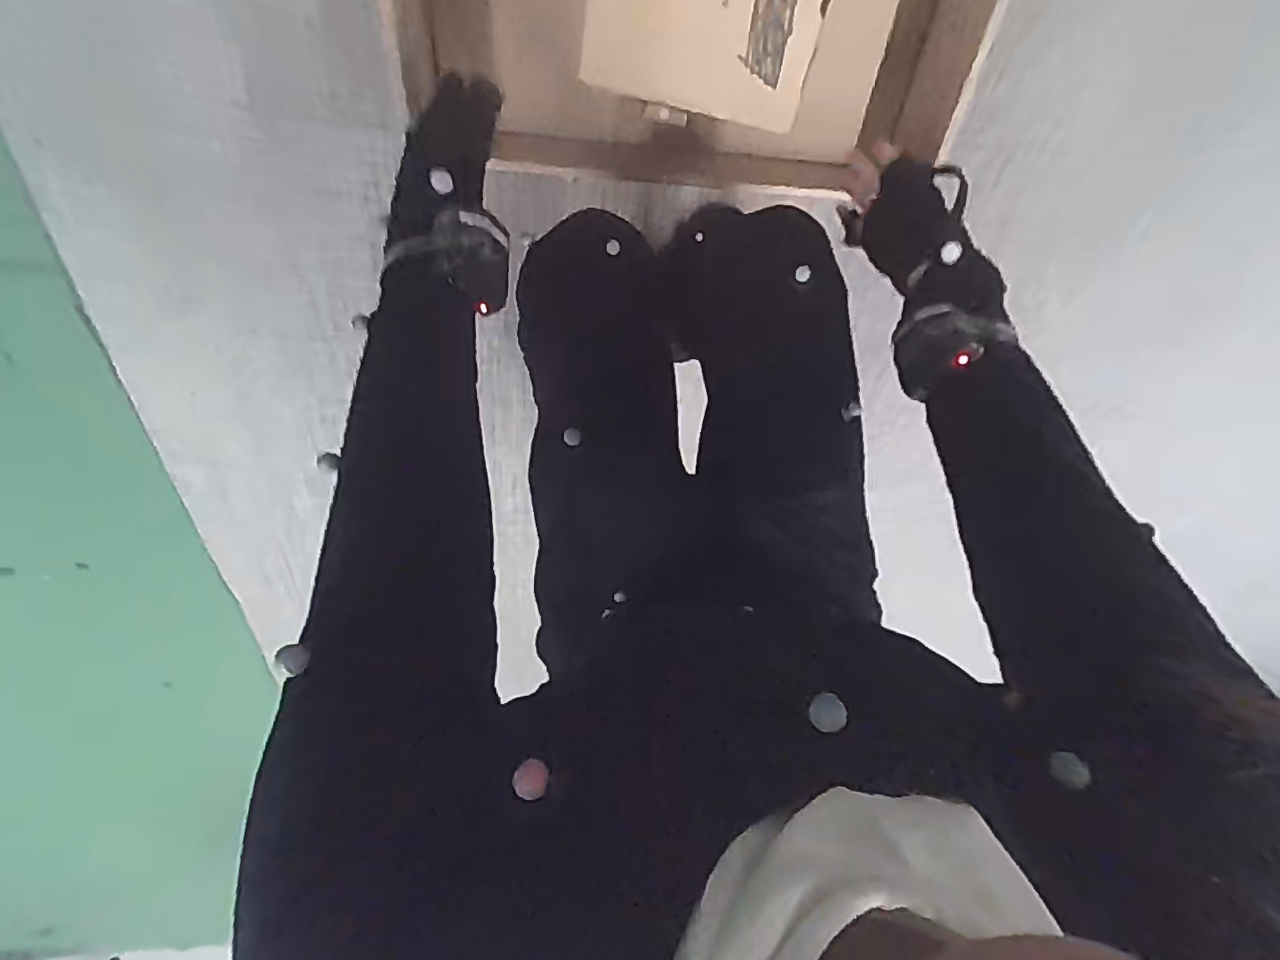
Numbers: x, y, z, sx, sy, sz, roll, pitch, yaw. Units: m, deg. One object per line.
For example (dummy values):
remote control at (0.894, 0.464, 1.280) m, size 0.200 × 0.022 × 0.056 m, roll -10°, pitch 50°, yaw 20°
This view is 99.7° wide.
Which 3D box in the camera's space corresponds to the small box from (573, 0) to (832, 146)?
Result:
small box at (0.047, -0.401, 0.443) m, size 0.179 × 0.176 × 0.168 m, roll 9°, pitch 127°, yaw -11°
